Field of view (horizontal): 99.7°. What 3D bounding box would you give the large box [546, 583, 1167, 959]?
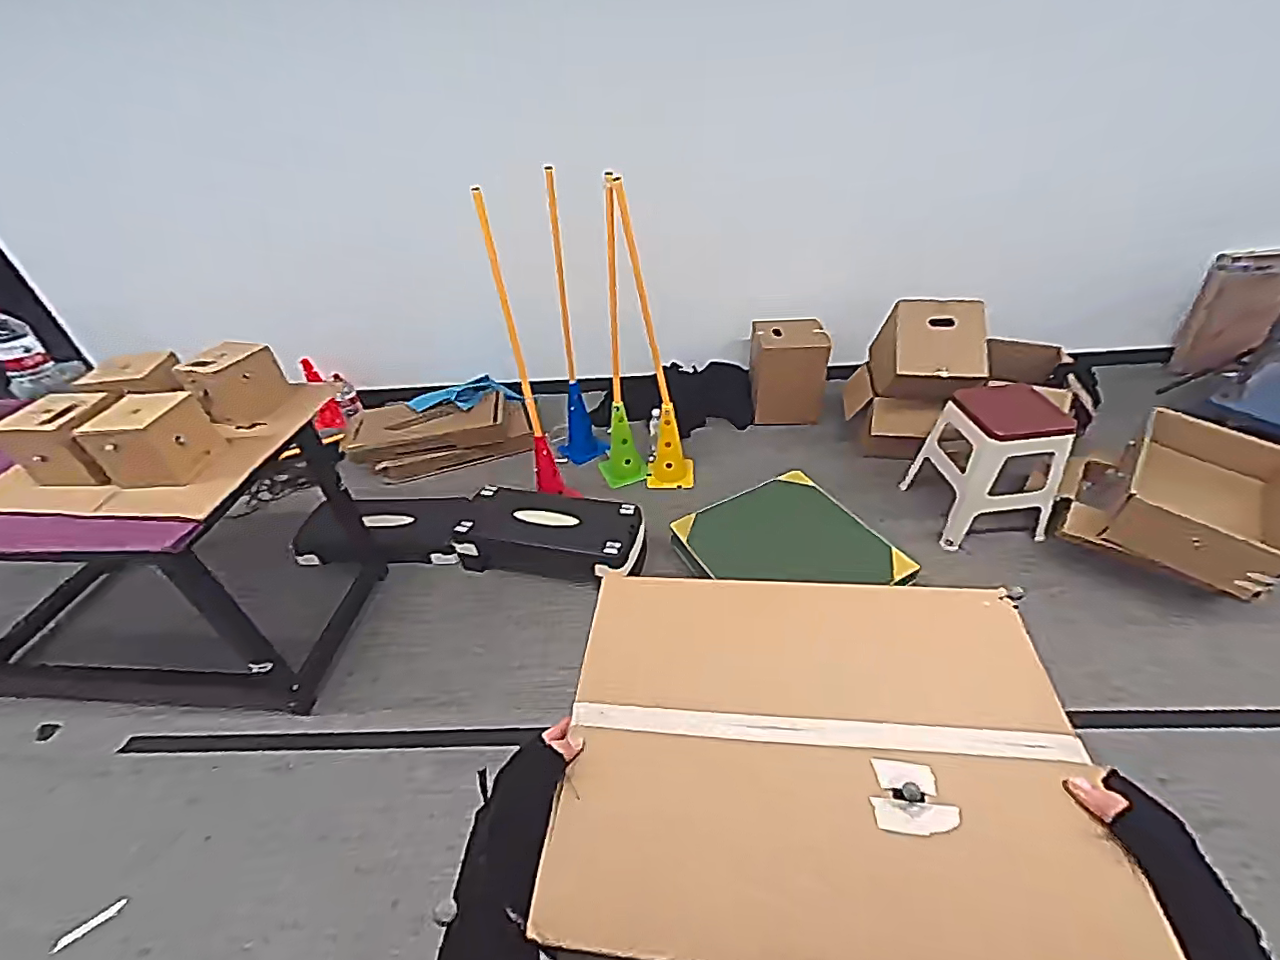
[{"bbox_3d":[0.157,0.327,0.554,0.408,0.320,0.320,1,41,9],"label":"large box"}]
